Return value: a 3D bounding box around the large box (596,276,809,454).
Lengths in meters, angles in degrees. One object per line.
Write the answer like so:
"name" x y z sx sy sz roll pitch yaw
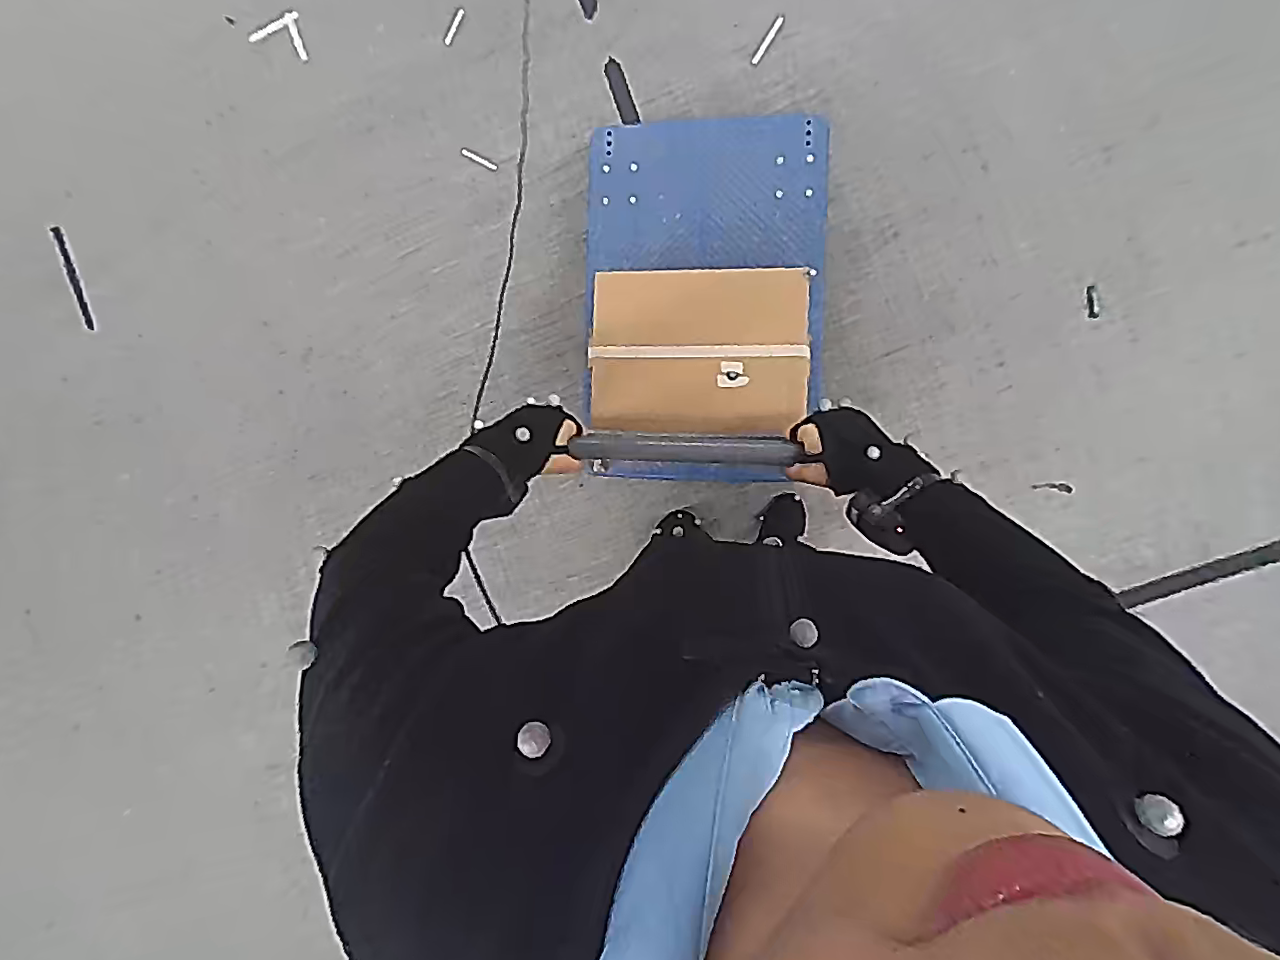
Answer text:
"large box" 0.129 -0.222 1.163 0.408 0.320 0.320 1 90 7
